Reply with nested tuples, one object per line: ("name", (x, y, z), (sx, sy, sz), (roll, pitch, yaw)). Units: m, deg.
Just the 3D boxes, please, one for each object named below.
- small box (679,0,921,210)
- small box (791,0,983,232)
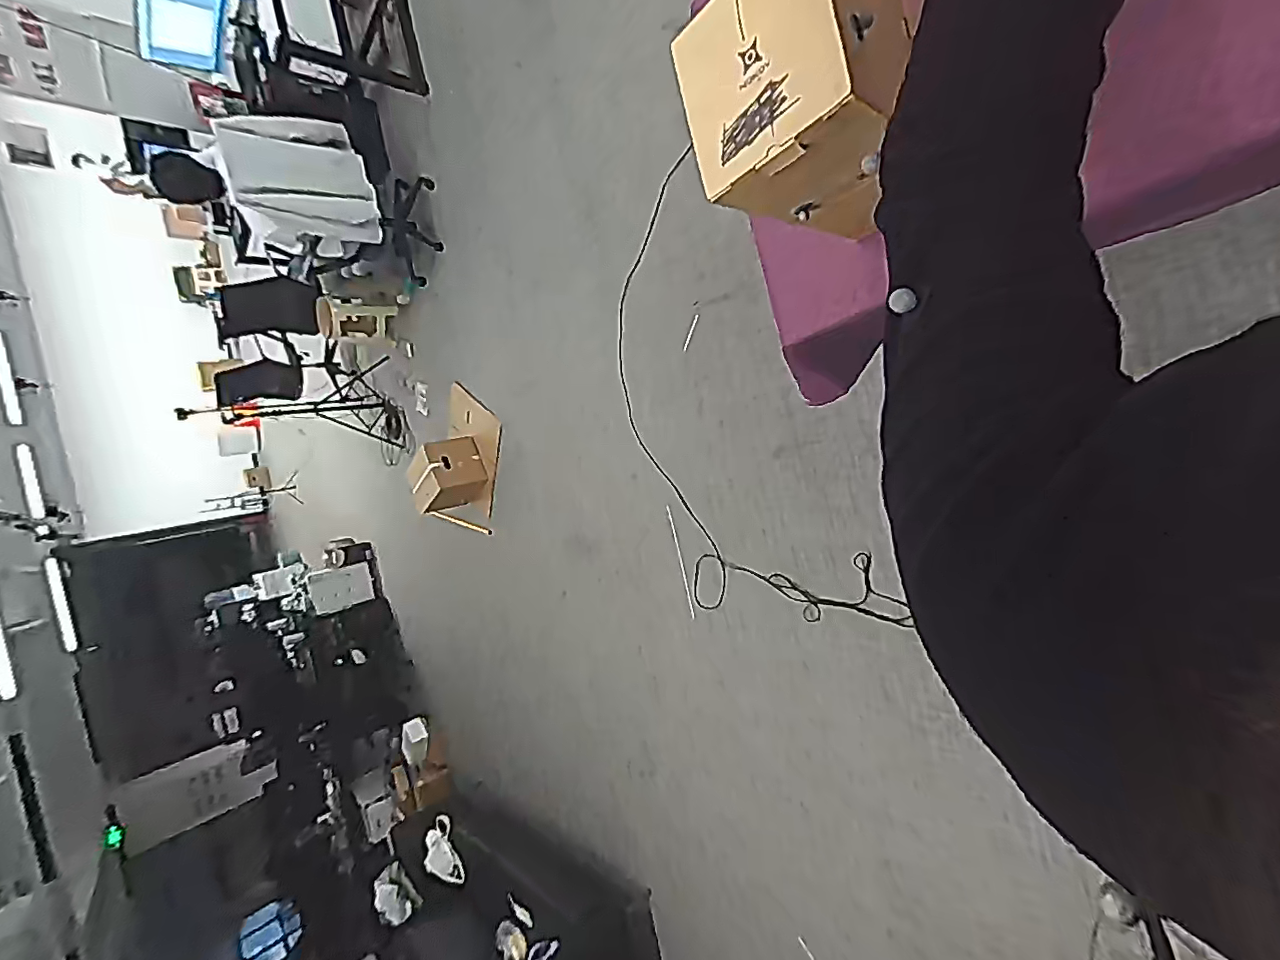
("small box", (0.171, -0.411, 0.573), (0.168, 0.176, 0.179), (-14, 88, 49))
("small box", (0.294, -0.435, 0.679), (0.179, 0.176, 0.168), (-13, 90, 49))
